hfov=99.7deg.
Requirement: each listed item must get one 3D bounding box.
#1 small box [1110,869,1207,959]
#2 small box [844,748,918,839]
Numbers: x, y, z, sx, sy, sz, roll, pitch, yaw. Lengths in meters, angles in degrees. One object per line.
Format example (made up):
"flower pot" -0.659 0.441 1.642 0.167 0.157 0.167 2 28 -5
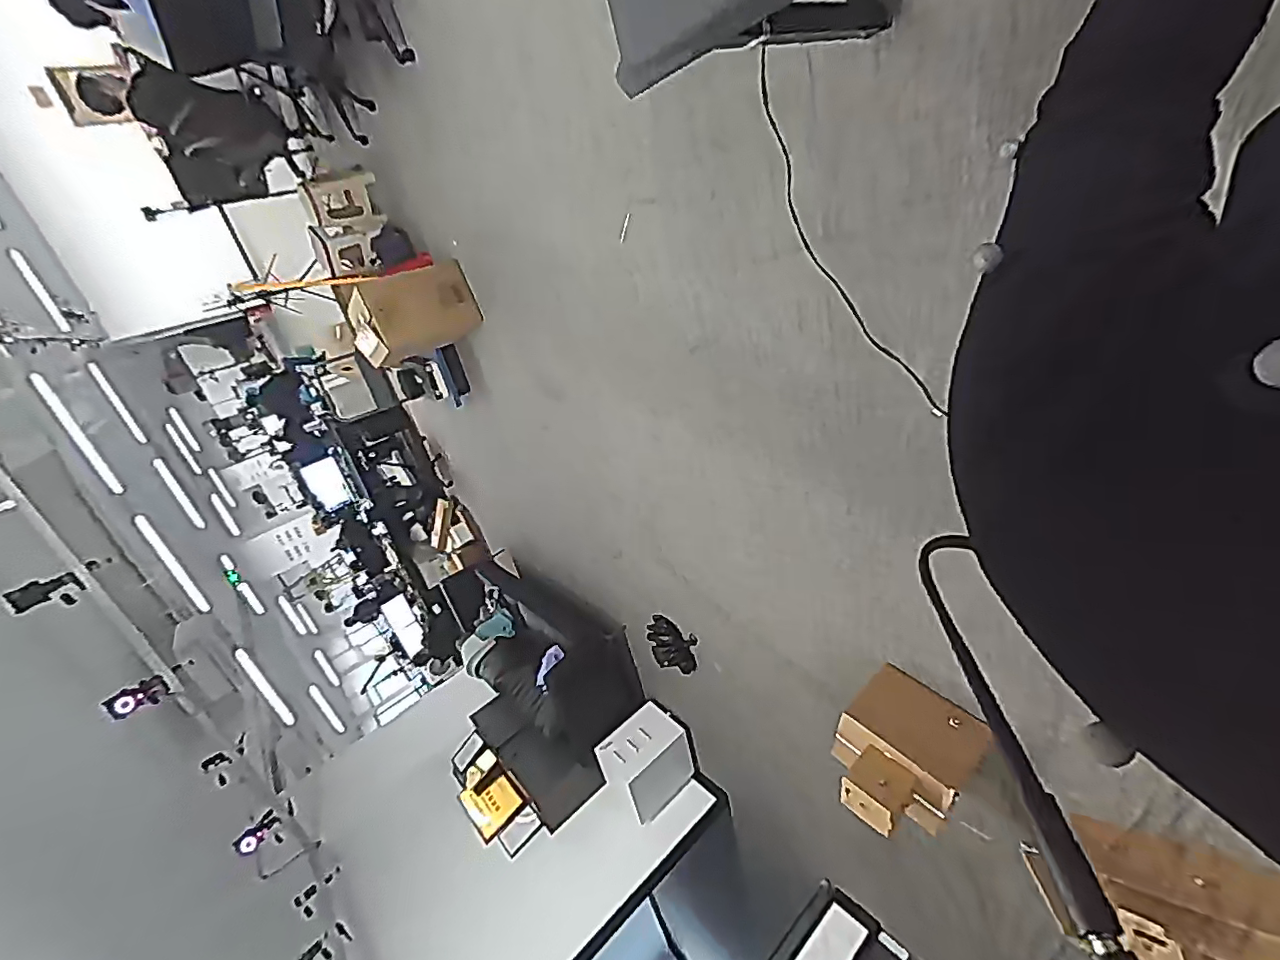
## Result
"small box" 1.513 1.295 1.576 0.168 0.176 0.179 -7 112 57
"small box" 0.831 1.073 1.865 0.179 0.176 0.168 24 134 44
